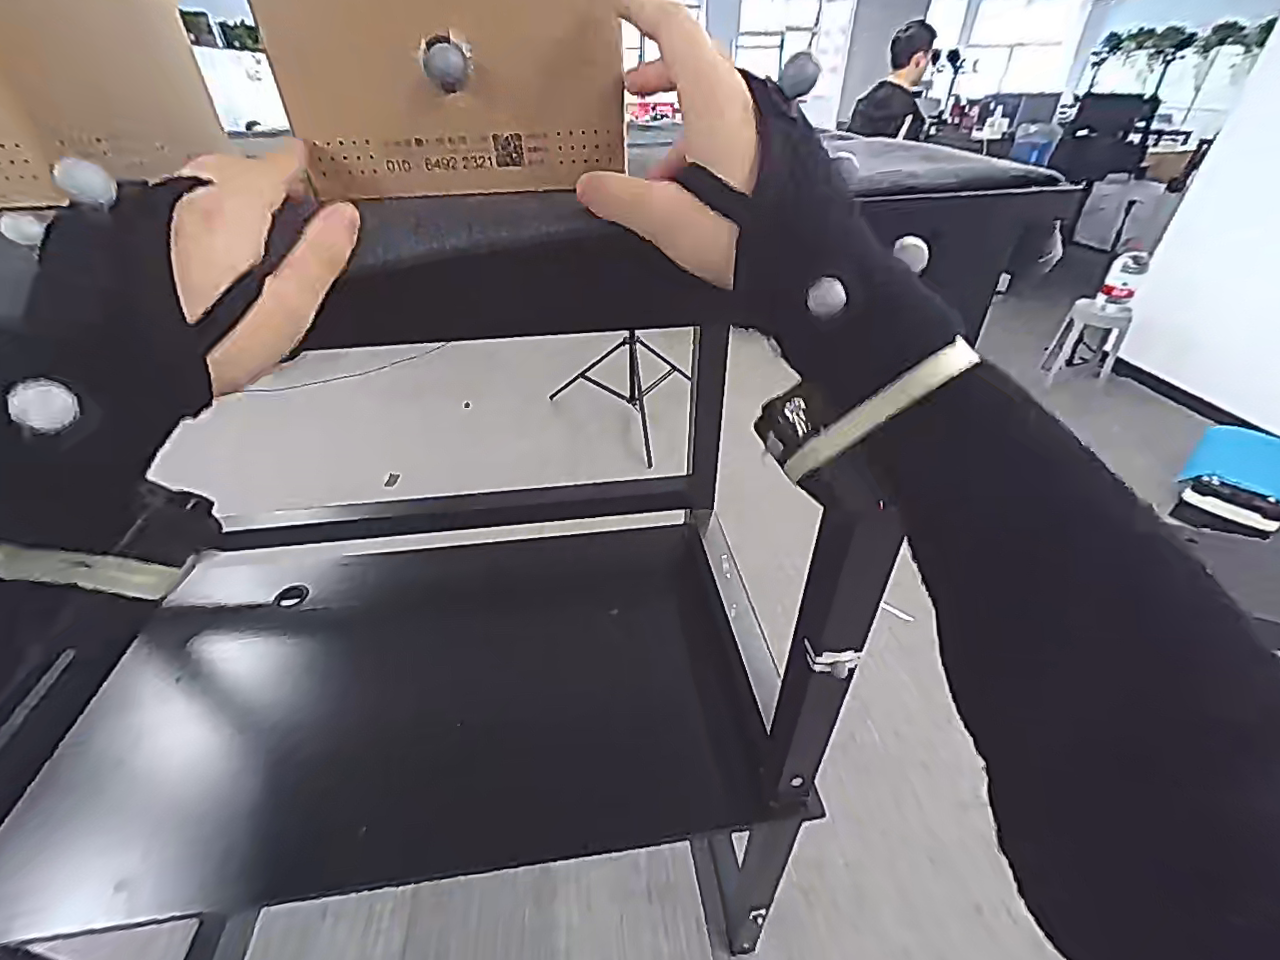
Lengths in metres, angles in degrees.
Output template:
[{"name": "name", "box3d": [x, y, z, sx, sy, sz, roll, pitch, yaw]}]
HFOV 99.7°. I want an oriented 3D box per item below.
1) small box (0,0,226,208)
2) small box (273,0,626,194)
[{"name": "small box", "box3d": [-0.370, -0.245, 0.285, 0.168, 0.176, 0.179, -5, 34, -6]}, {"name": "small box", "box3d": [-0.098, -0.270, 0.312, 0.168, 0.176, 0.179, -5, 36, -4]}]
